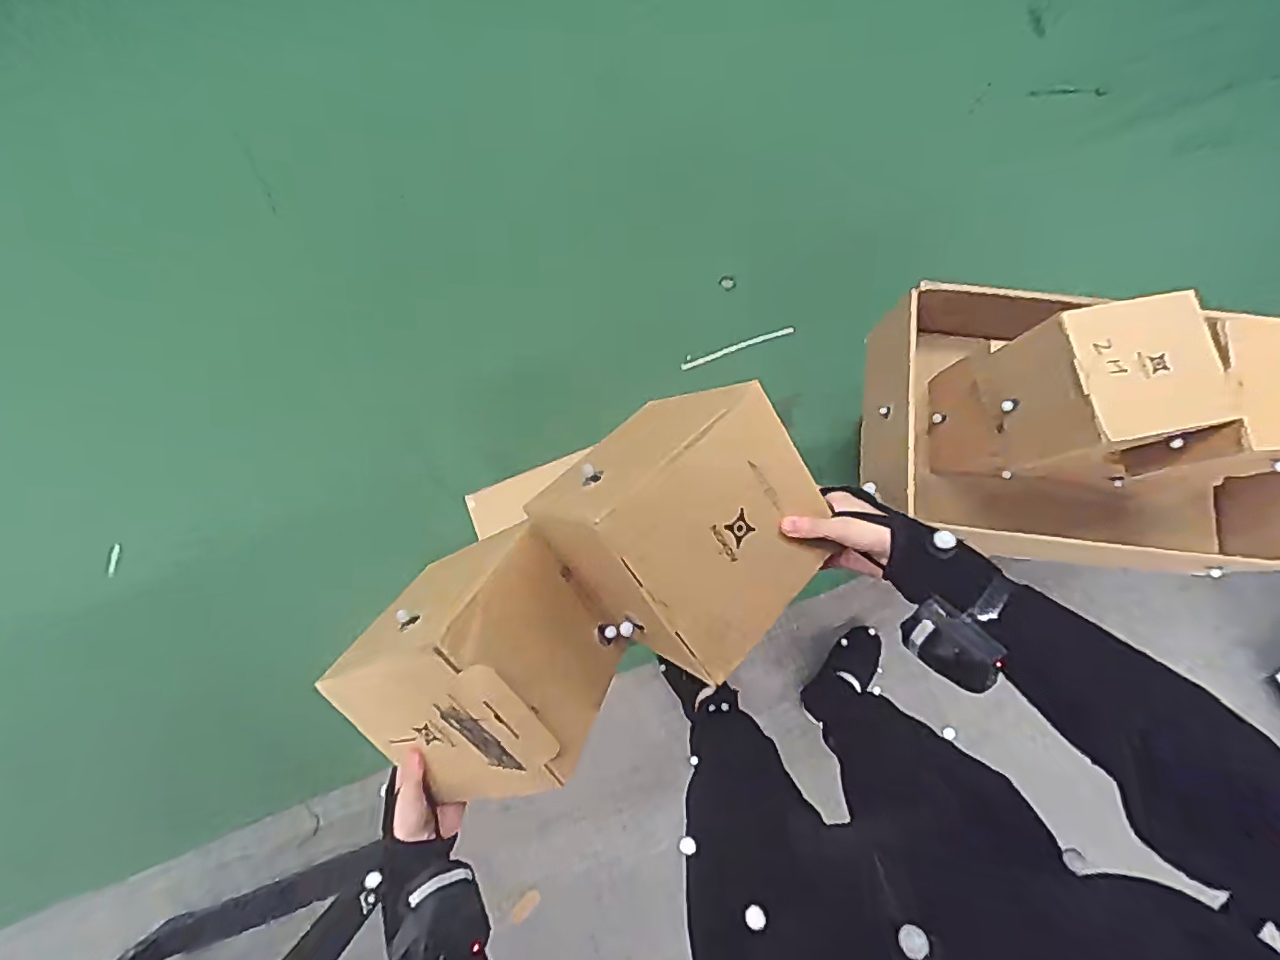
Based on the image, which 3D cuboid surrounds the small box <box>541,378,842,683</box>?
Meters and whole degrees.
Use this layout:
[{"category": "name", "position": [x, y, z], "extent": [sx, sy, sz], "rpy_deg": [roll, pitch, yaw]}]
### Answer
[{"category": "small box", "position": [0.033, 0.036, 0.477], "extent": [0.179, 0.176, 0.168], "rpy_deg": [-42, 110, -23]}]

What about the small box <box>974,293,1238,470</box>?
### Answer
[{"category": "small box", "position": [0.591, -0.119, 0.711], "extent": [0.179, 0.176, 0.168], "rpy_deg": [-10, 79, -3]}]
